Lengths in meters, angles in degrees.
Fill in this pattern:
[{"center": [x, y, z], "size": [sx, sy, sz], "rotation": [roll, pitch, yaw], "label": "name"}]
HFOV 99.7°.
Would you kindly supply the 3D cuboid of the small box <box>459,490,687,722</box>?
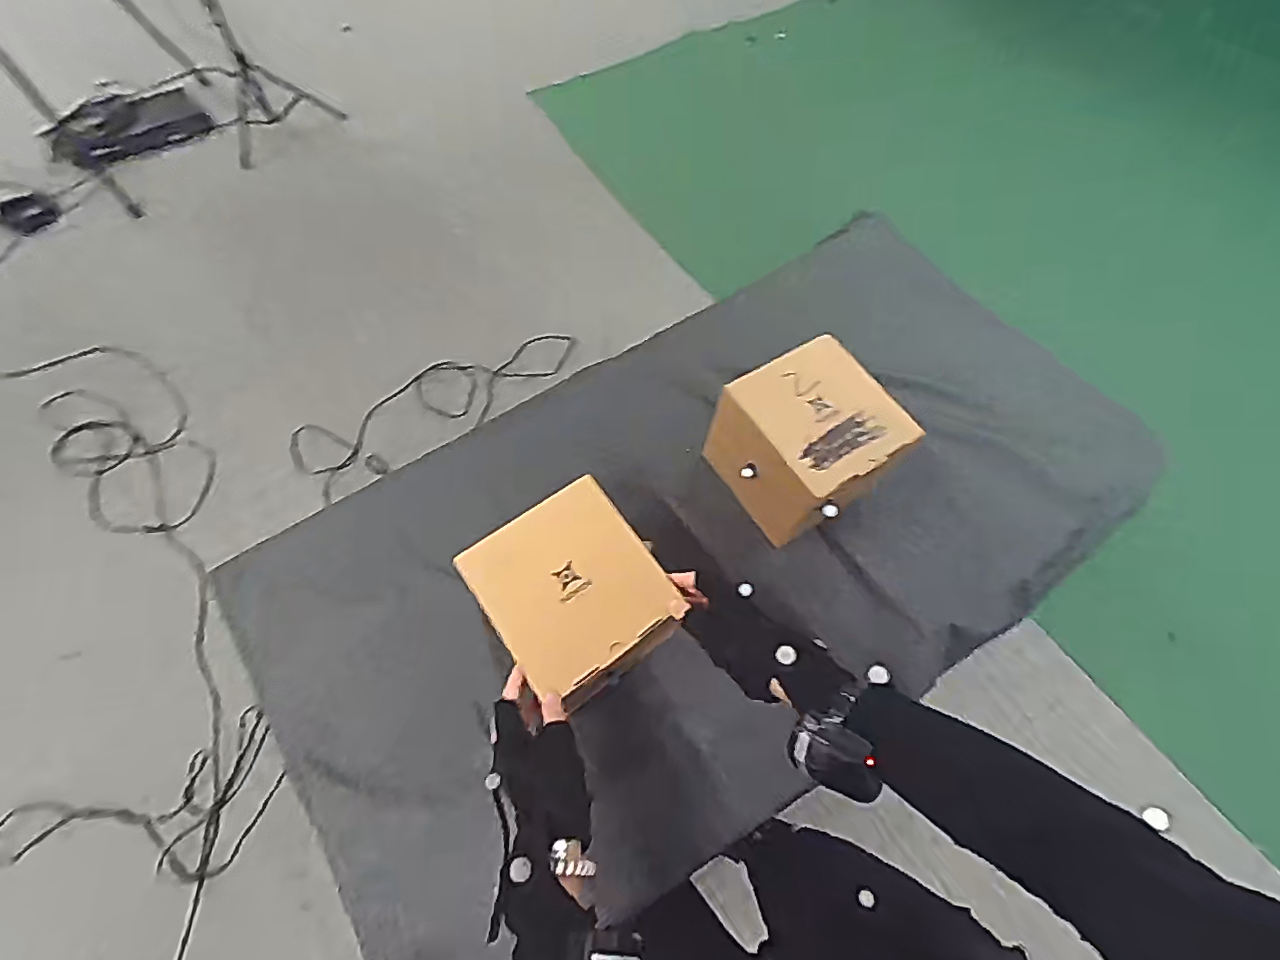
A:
[{"center": [-0.072, 0.148, 0.606], "size": [0.168, 0.176, 0.179], "rotation": [-34, 70, -17], "label": "small box"}]
